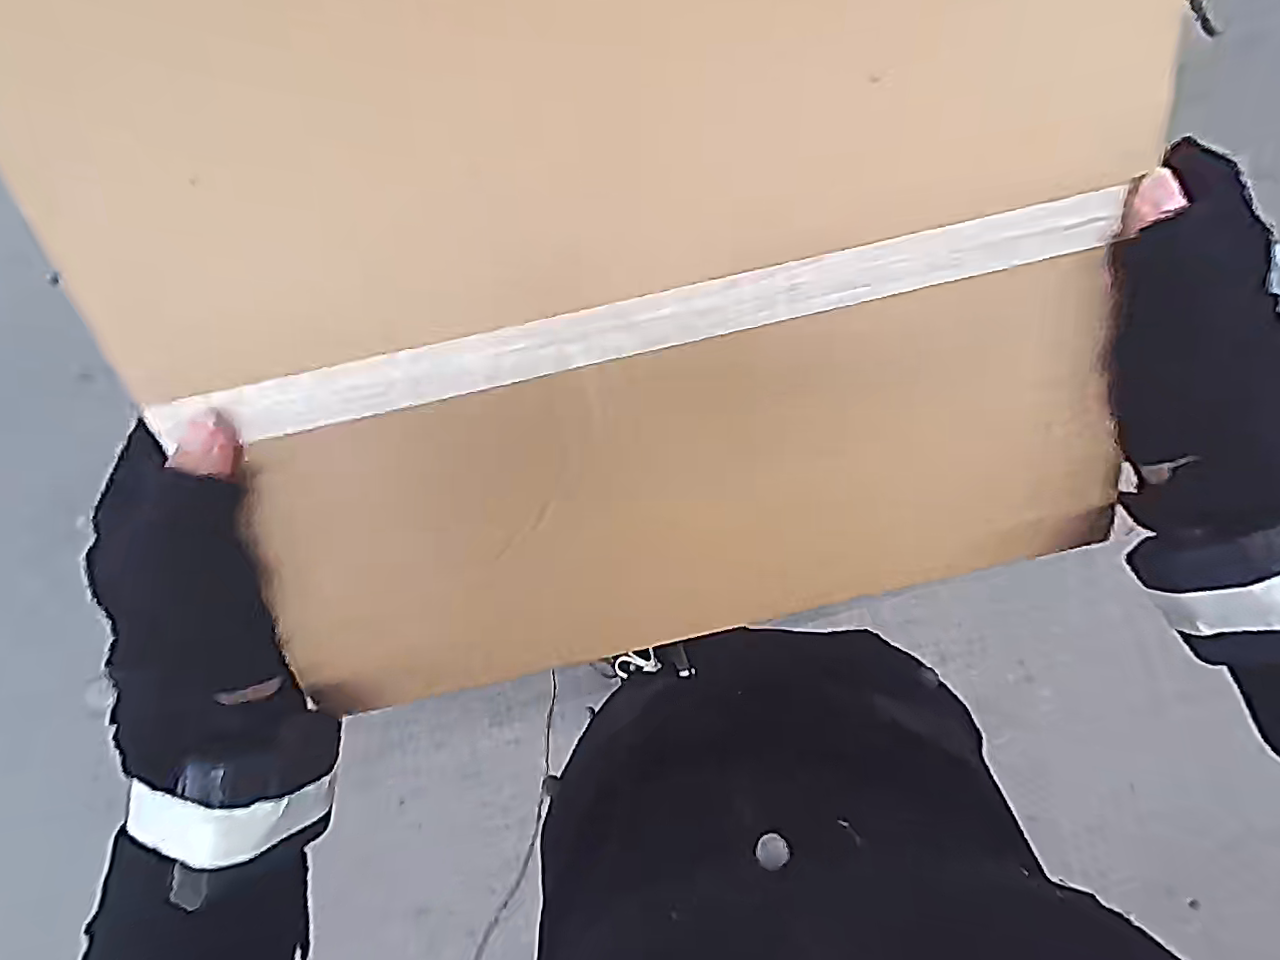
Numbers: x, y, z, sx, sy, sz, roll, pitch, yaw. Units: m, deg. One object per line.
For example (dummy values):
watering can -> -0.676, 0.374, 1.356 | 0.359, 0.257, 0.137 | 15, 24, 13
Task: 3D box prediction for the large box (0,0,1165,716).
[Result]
large box -> -0.002, -0.113, 0.364 | 0.408, 0.320, 0.320 | -13, 112, 0
